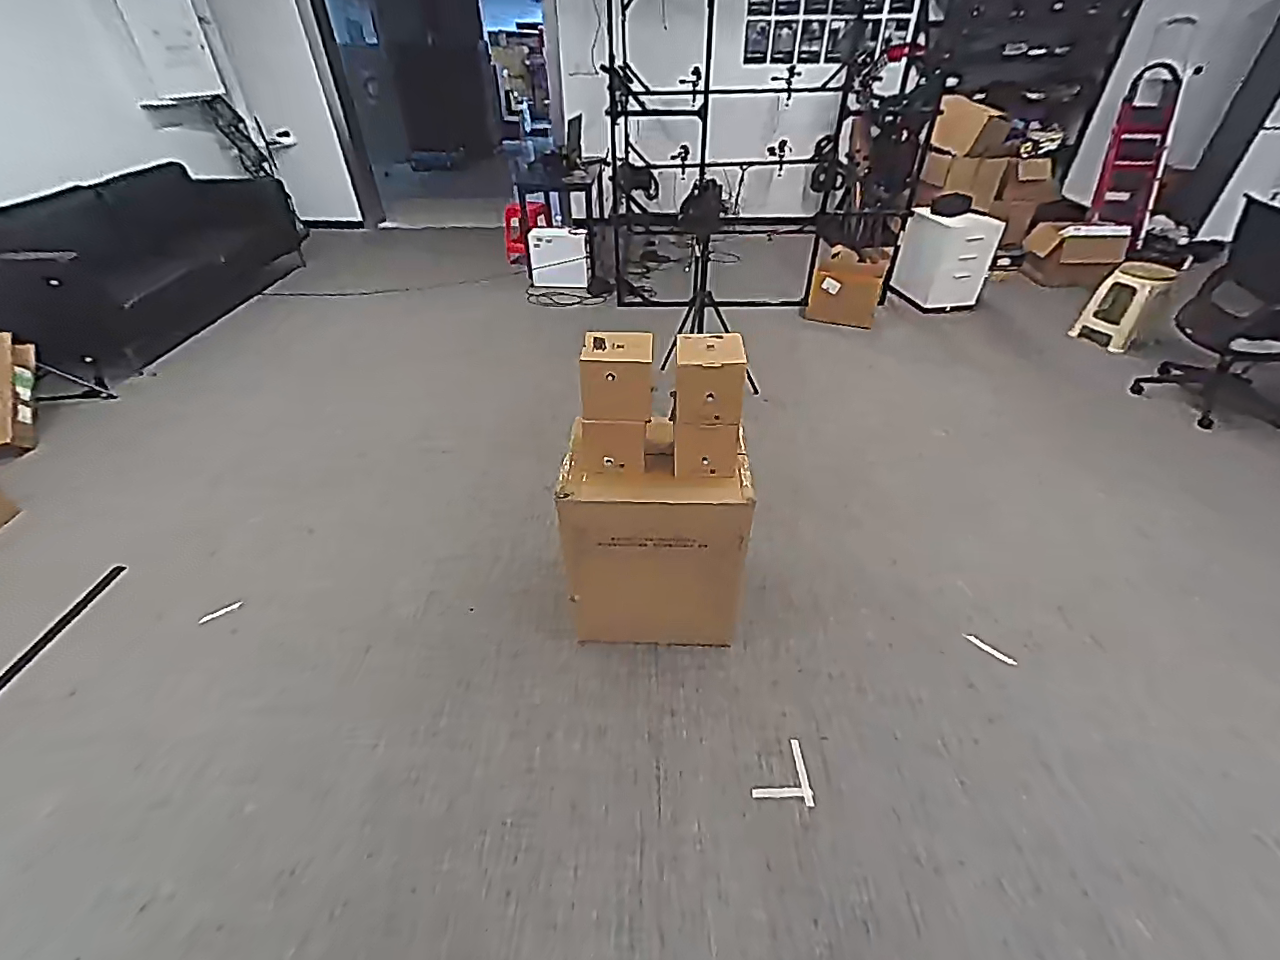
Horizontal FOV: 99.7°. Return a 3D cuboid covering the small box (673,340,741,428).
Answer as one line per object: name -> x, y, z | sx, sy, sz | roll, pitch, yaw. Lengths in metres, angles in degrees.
small box -> 0.168, -0.243, 1.387 | 0.168, 0.176, 0.179 | 0, 39, 4

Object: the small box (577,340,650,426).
small box -> -0.062, -0.252, 1.407 | 0.179, 0.176, 0.168 | 1, 38, 1

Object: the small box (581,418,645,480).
small box -> -0.070, -0.120, 1.504 | 0.168, 0.176, 0.179 | 0, 39, 1

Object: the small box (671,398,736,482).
small box -> 0.168, -0.112, 1.486 | 0.168, 0.176, 0.179 | -1, 38, 3
